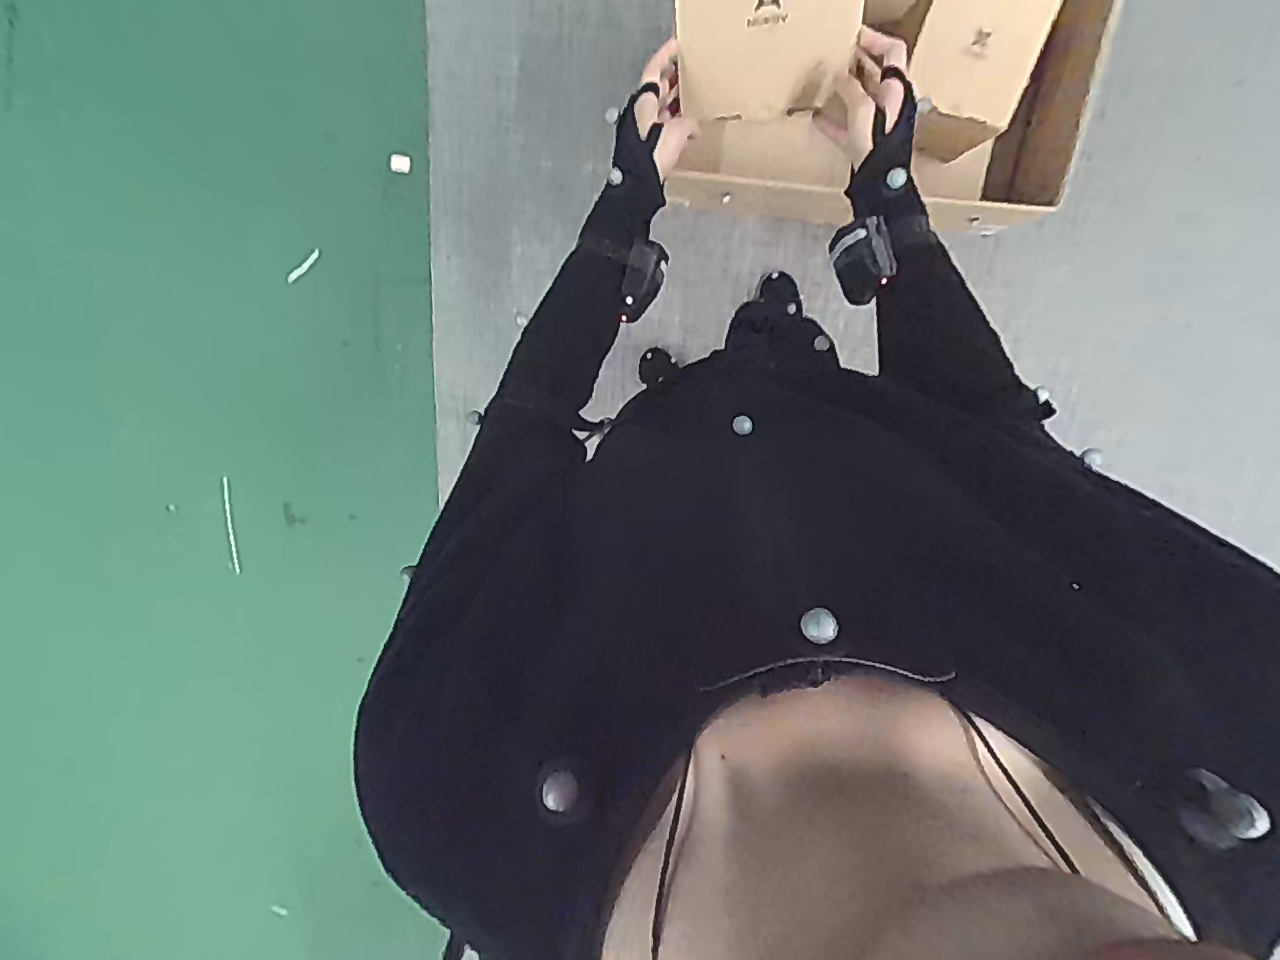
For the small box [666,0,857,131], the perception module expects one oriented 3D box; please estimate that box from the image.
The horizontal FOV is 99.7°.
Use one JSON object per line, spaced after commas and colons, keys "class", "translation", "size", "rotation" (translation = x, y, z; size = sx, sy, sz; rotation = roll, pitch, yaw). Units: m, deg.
{"class": "small box", "translation": [0.110, -0.467, 0.527], "size": [0.168, 0.176, 0.179], "rotation": [-3, 132, 6]}
